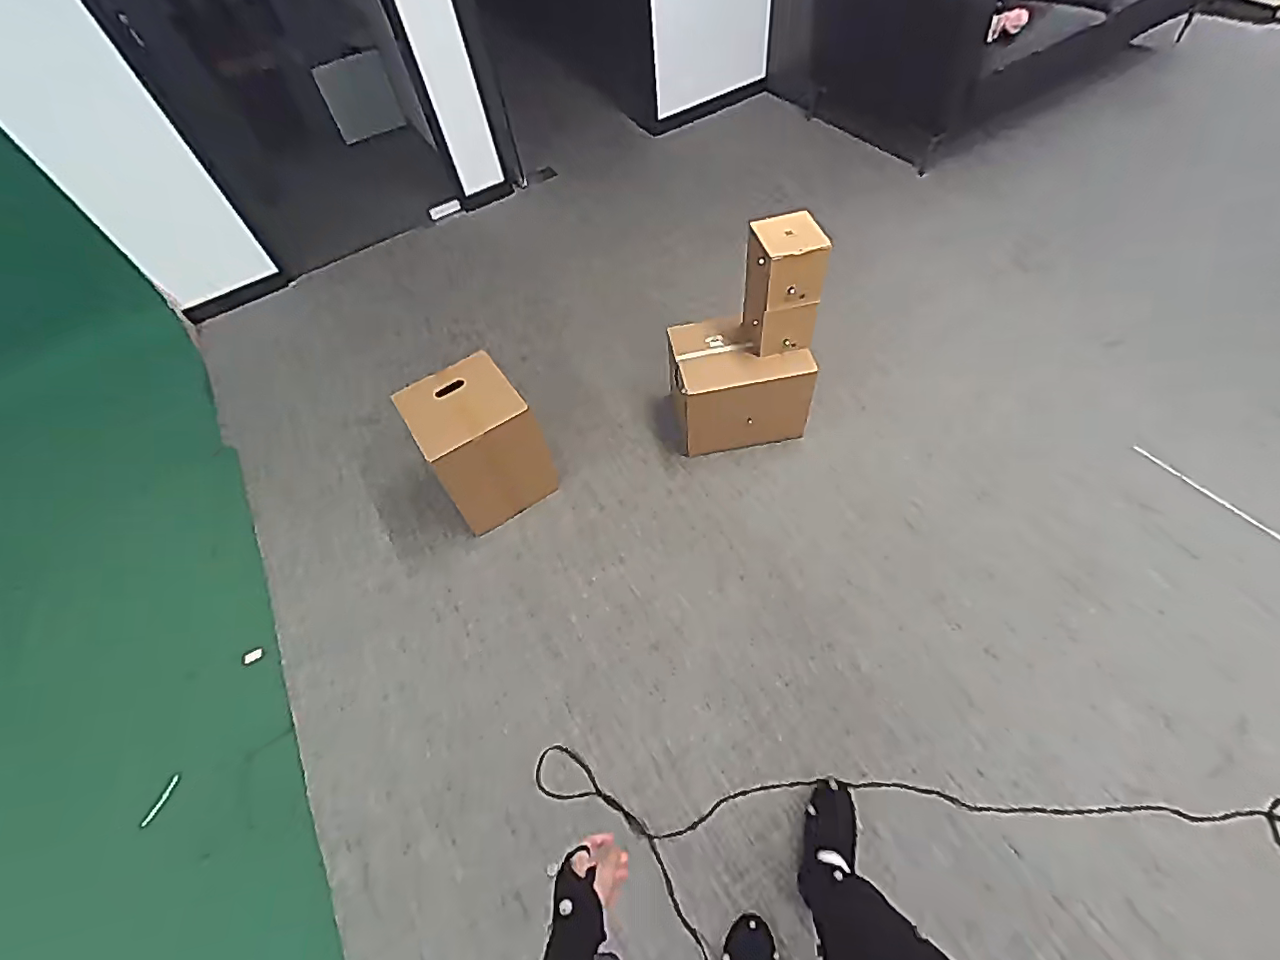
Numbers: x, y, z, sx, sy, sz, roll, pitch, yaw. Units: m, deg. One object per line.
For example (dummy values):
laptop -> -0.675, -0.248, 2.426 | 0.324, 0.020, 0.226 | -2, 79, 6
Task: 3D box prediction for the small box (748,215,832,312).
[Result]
small box -> 0.404, -0.596, 1.493 | 0.168, 0.176, 0.179 | -13, 55, -3
